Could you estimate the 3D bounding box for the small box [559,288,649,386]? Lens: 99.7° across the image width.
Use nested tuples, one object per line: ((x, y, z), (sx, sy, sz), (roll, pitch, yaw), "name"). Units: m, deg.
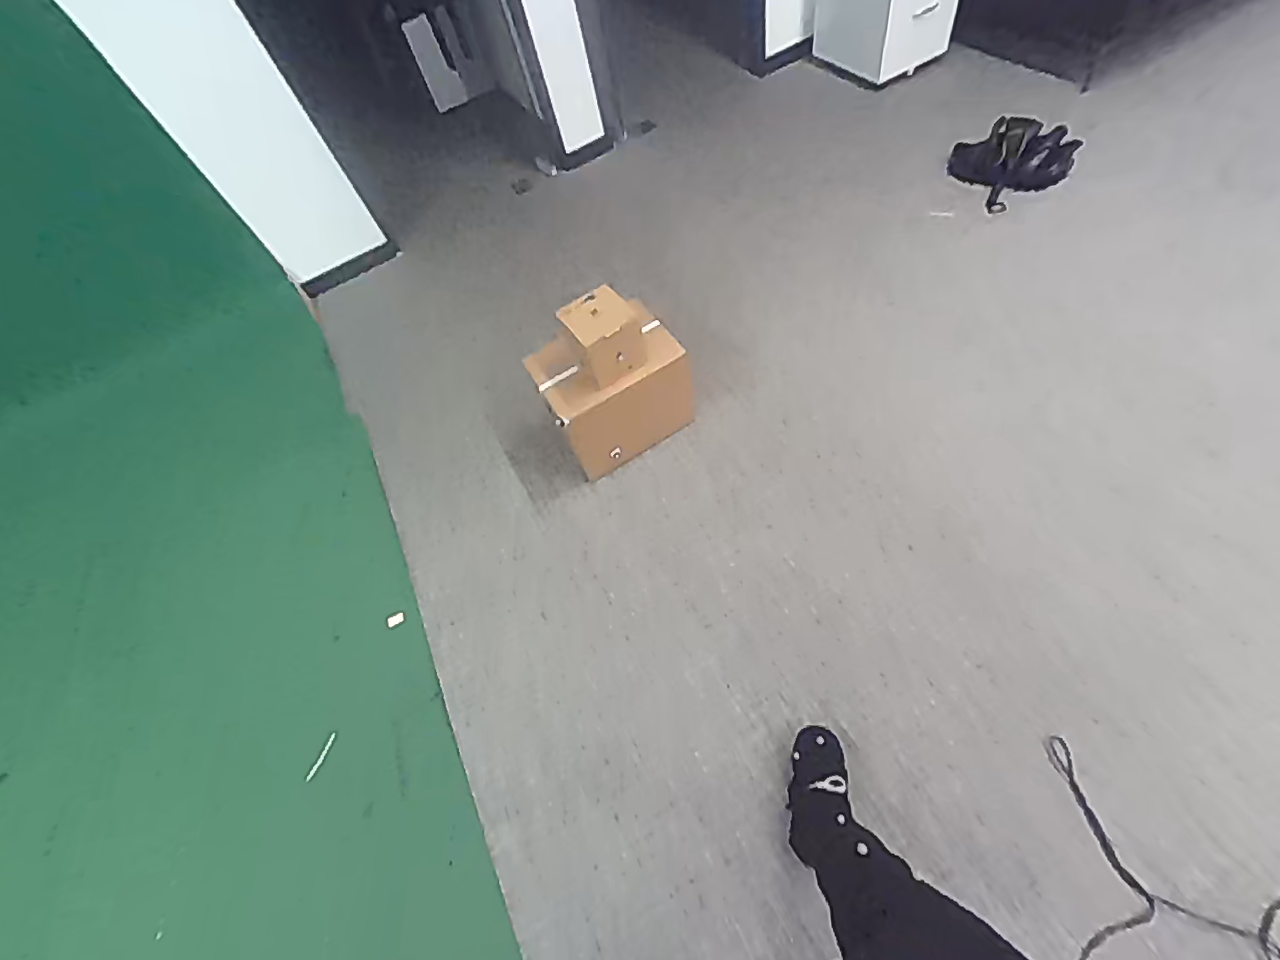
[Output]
((-0.093, -0.382, 1.481), (0.168, 0.176, 0.179), (-32, 58, -8), "small box")
